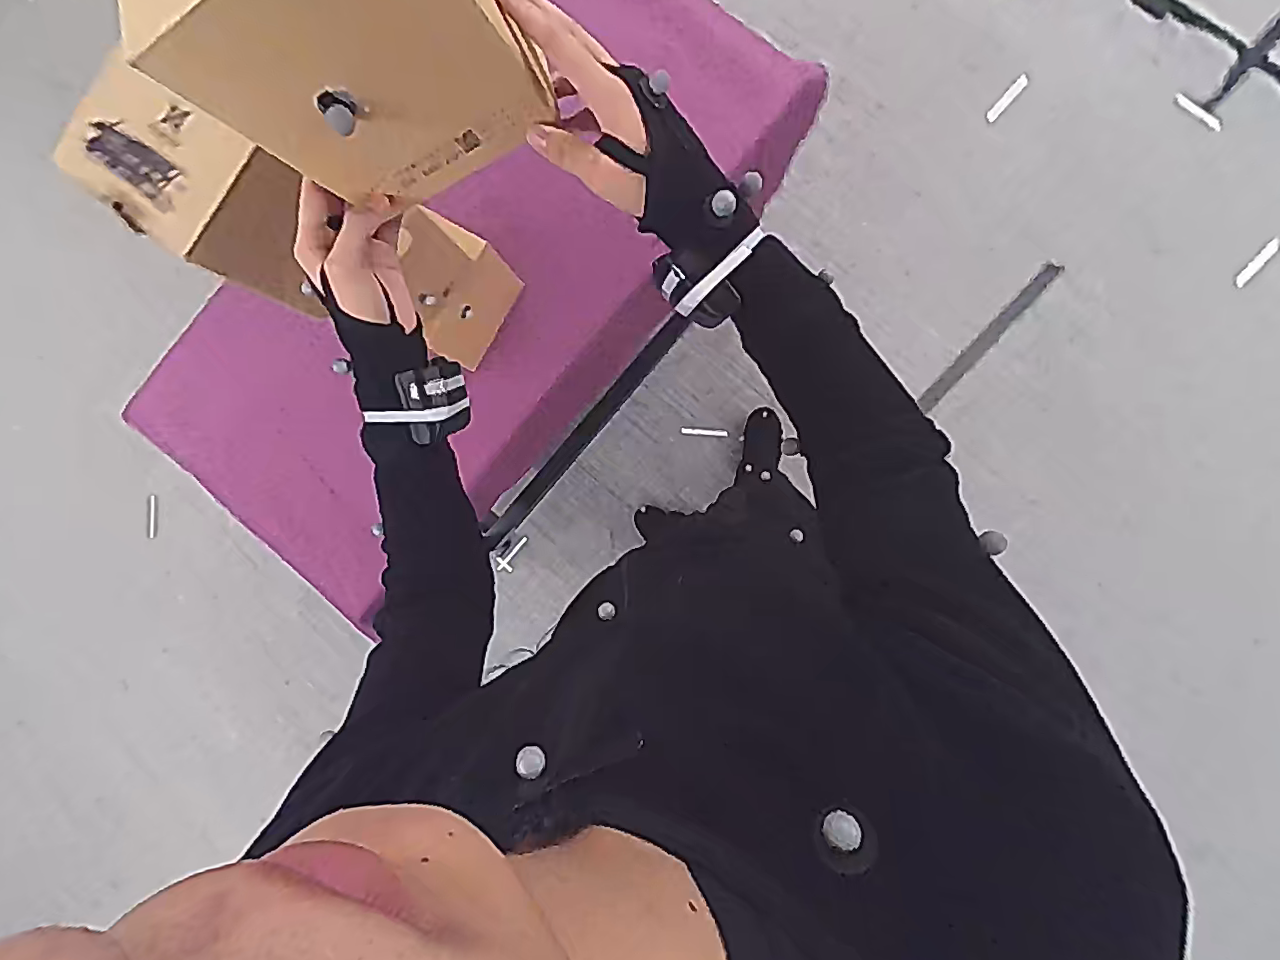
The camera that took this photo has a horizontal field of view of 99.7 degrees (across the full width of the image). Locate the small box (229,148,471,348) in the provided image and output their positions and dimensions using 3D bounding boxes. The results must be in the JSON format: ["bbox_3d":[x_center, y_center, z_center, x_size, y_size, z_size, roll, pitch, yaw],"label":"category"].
[{"bbox_3d":[-0.359,-0.295,0.700,0.179,0.176,0.168,36,94,6],"label":"small box"}]

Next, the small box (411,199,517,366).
[{"bbox_3d":[-0.322,-0.305,0.861,0.168,0.176,0.179,31,92,6],"label":"small box"}]

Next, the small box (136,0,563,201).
[{"bbox_3d":[-0.166,-0.308,0.334,0.168,0.176,0.179,-16,81,19],"label":"small box"}]
